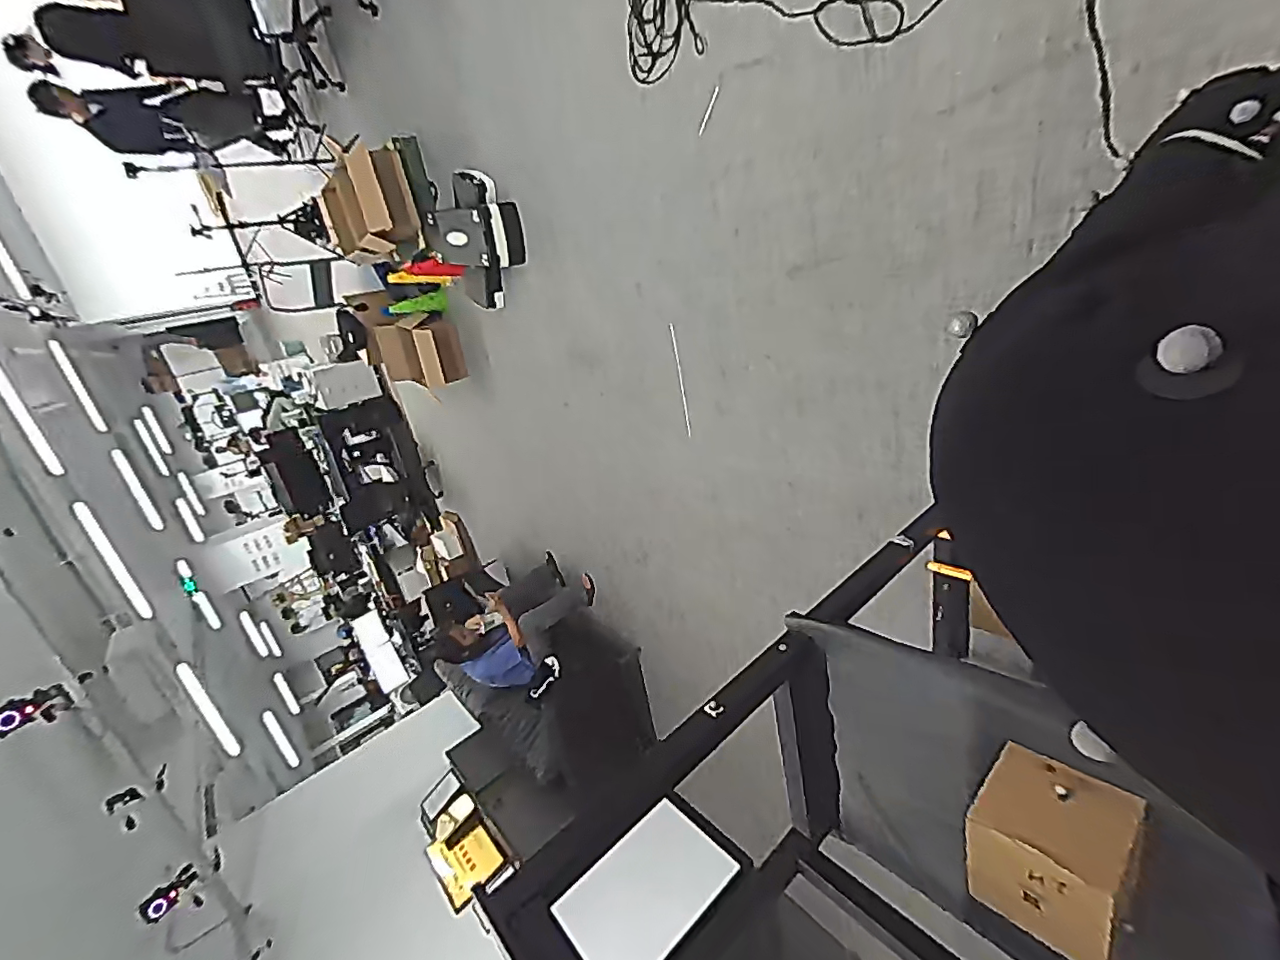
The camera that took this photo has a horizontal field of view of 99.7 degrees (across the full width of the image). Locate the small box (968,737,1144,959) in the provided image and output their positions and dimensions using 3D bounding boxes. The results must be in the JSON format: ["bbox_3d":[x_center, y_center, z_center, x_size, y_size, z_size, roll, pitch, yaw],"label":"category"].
[{"bbox_3d":[0.598,0.521,0.782,0.168,0.176,0.179,11,122,49],"label":"small box"}]
